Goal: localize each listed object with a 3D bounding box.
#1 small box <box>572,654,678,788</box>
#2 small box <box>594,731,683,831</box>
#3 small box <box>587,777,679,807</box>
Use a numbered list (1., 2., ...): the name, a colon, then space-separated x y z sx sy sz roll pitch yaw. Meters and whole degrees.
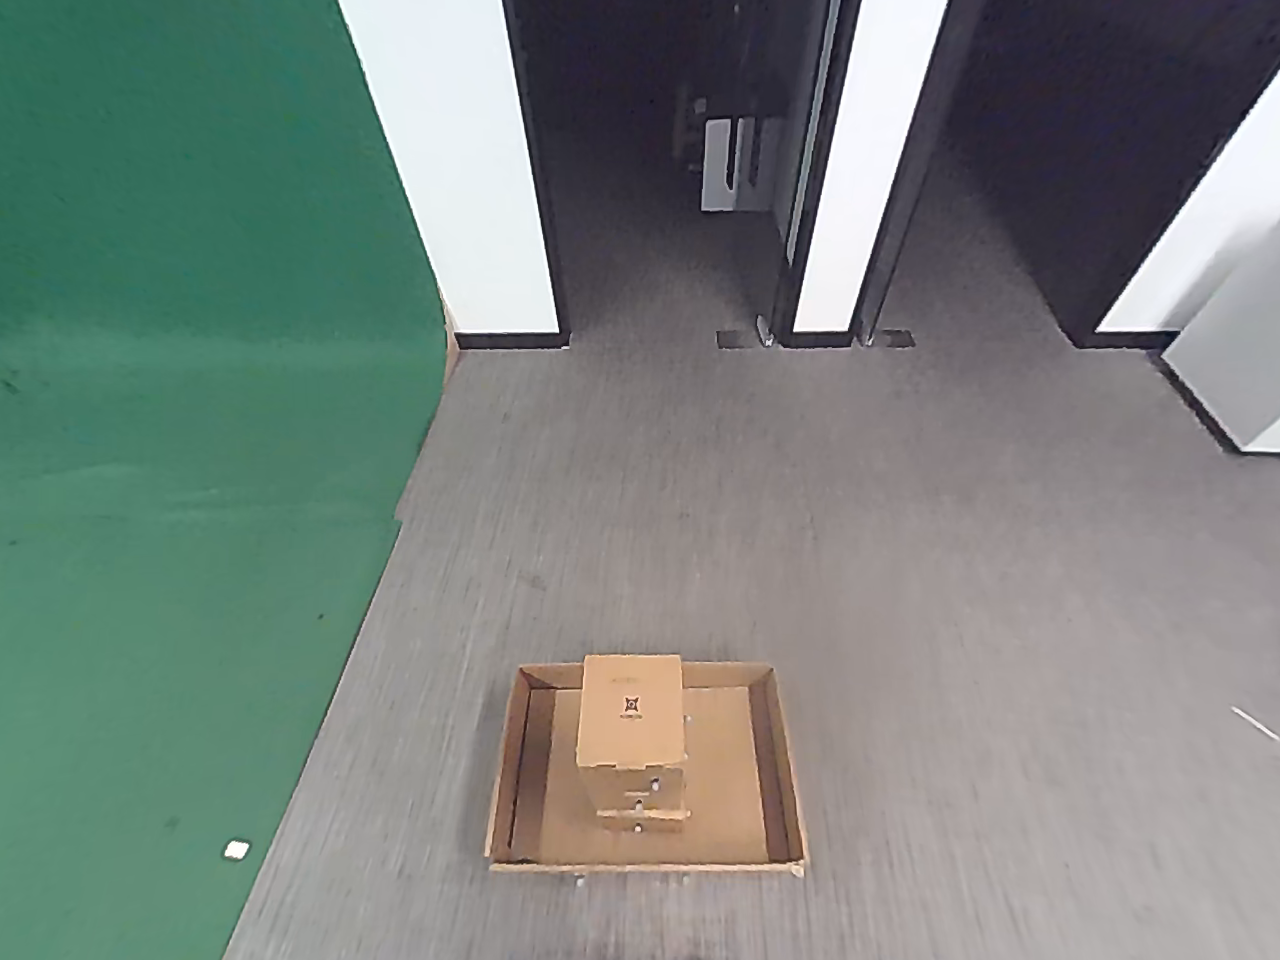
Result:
1. small box: -0.017 0.416 0.930 0.168 0.176 0.179 0 48 1
2. small box: 0.003 0.652 1.177 0.179 0.176 0.168 0 48 5
3. small box: -0.010 0.535 1.068 0.168 0.176 0.179 -3 48 1
